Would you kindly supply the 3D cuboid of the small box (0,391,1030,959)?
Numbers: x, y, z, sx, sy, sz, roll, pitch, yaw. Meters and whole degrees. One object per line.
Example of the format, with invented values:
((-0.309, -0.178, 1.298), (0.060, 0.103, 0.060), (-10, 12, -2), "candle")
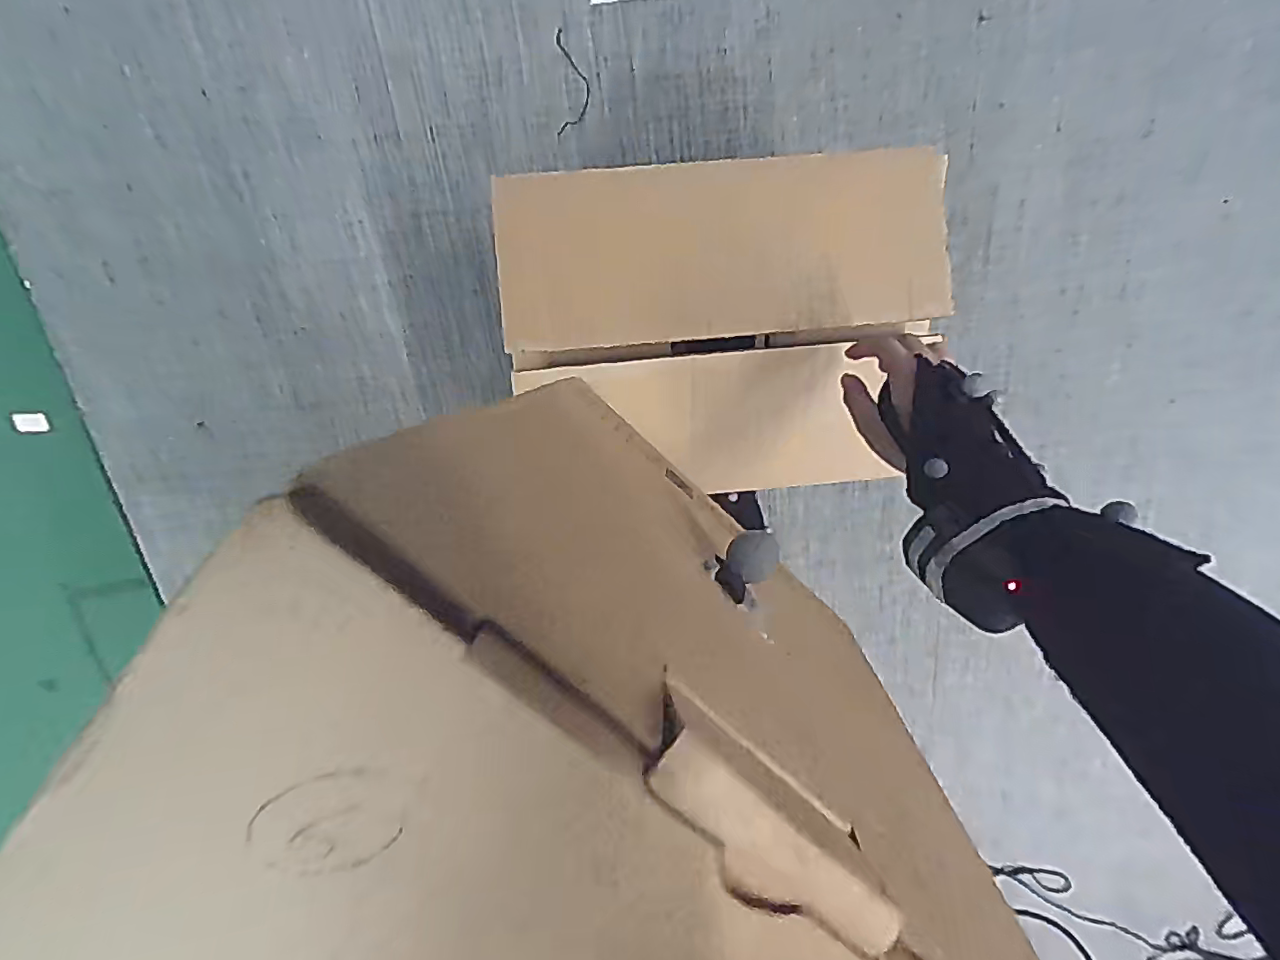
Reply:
((-0.036, 0.090, 0.171), (0.168, 0.176, 0.179), (42, 103, -7), "small box")
